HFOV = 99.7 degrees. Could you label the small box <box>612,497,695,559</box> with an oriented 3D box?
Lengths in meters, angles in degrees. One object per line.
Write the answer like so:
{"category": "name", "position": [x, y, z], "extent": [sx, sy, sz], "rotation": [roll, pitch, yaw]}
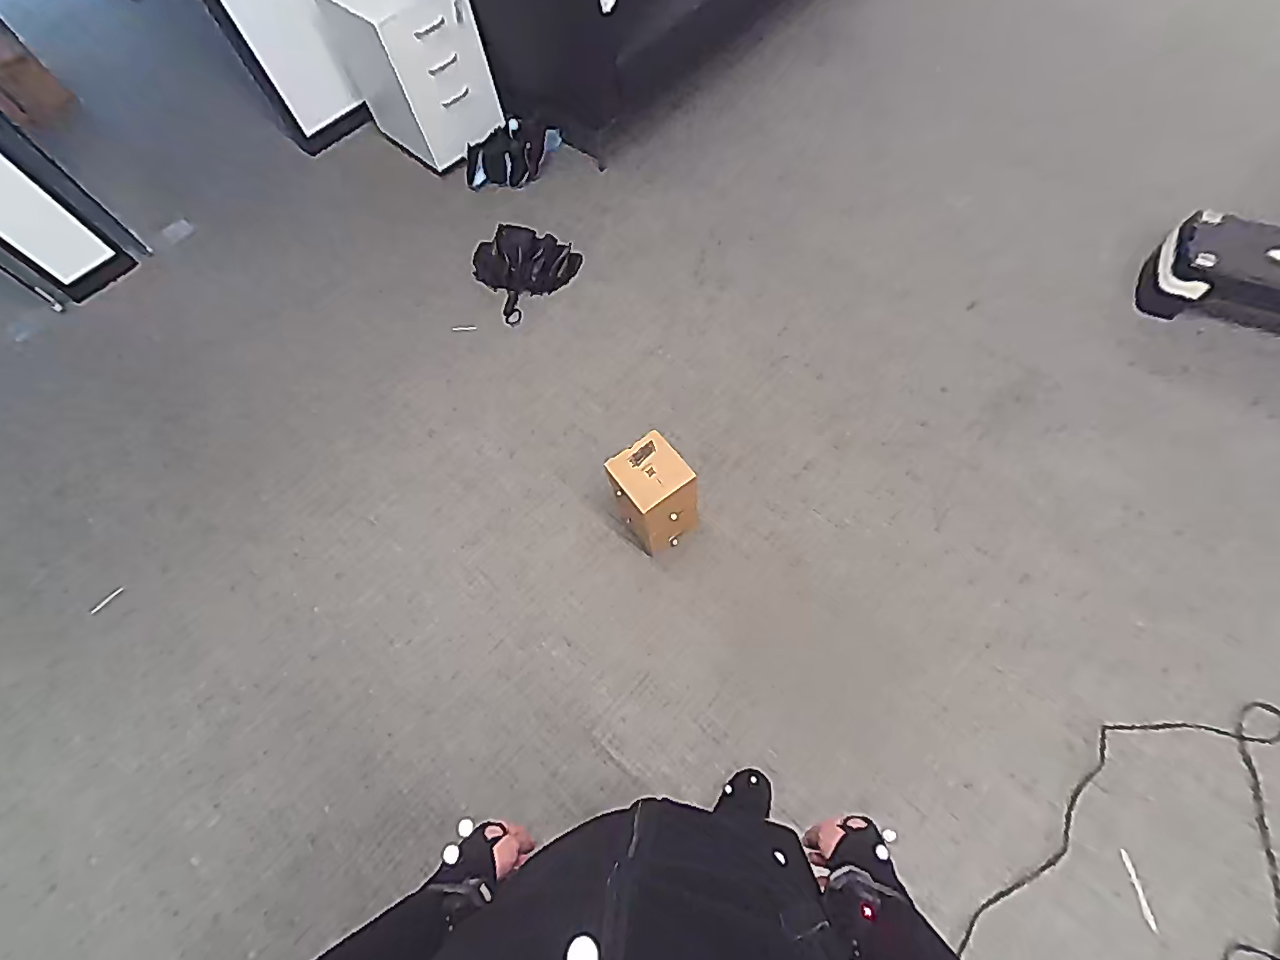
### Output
{"category": "small box", "position": [0.042, 0.102, 1.563], "extent": [0.168, 0.176, 0.179], "rotation": [-36, 67, -11]}

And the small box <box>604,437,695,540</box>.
{"category": "small box", "position": [0.028, 0.027, 1.417], "extent": [0.168, 0.176, 0.179], "rotation": [-34, 66, -10]}
